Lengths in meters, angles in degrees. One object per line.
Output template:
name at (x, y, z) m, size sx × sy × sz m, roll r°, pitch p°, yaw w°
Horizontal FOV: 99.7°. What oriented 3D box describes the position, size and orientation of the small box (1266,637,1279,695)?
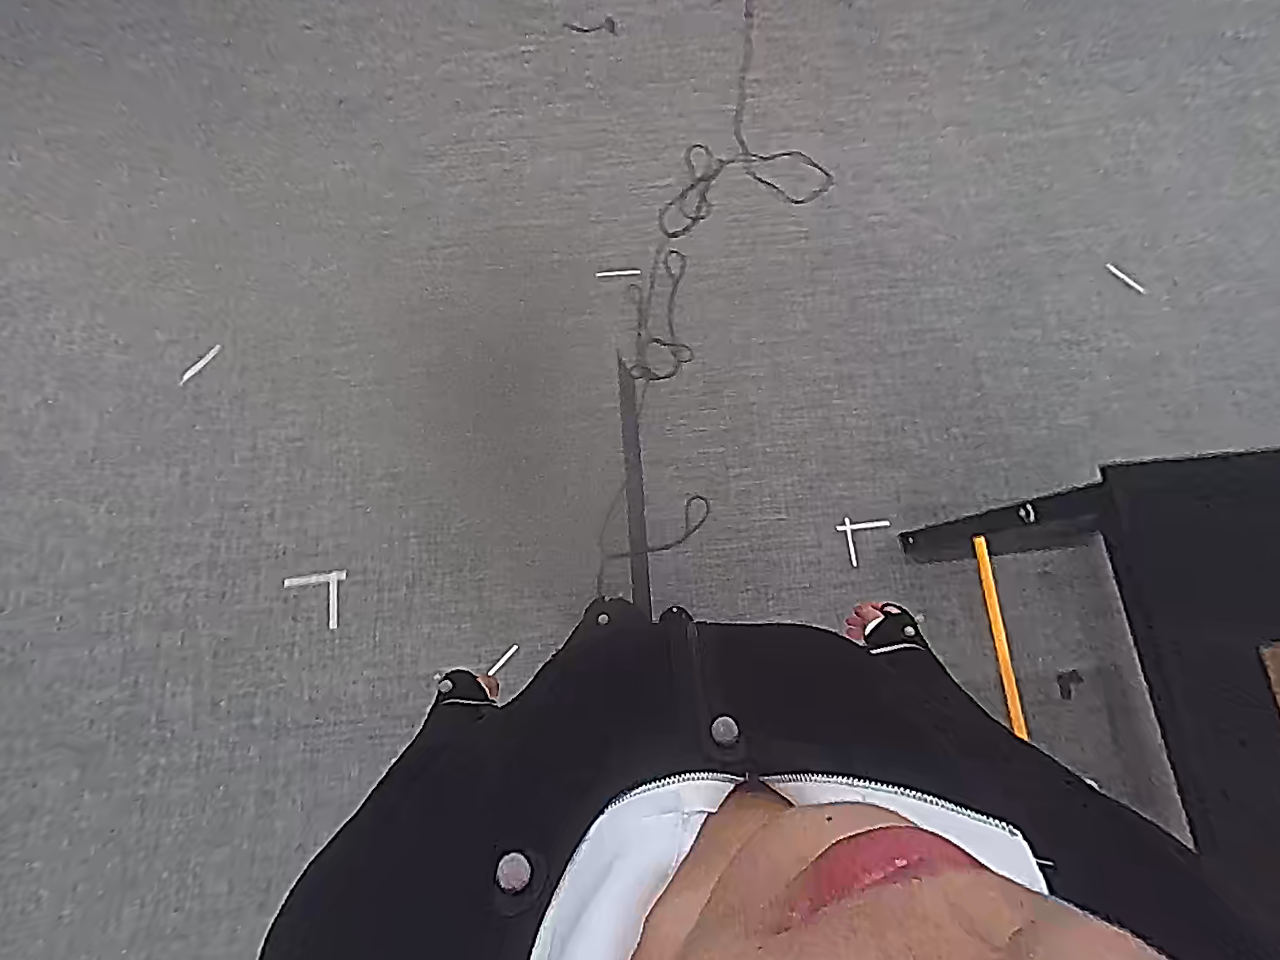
small box at (0.971, 0.278, 0.670) m, size 0.179 × 0.176 × 0.168 m, roll -4°, pitch 77°, yaw 0°
